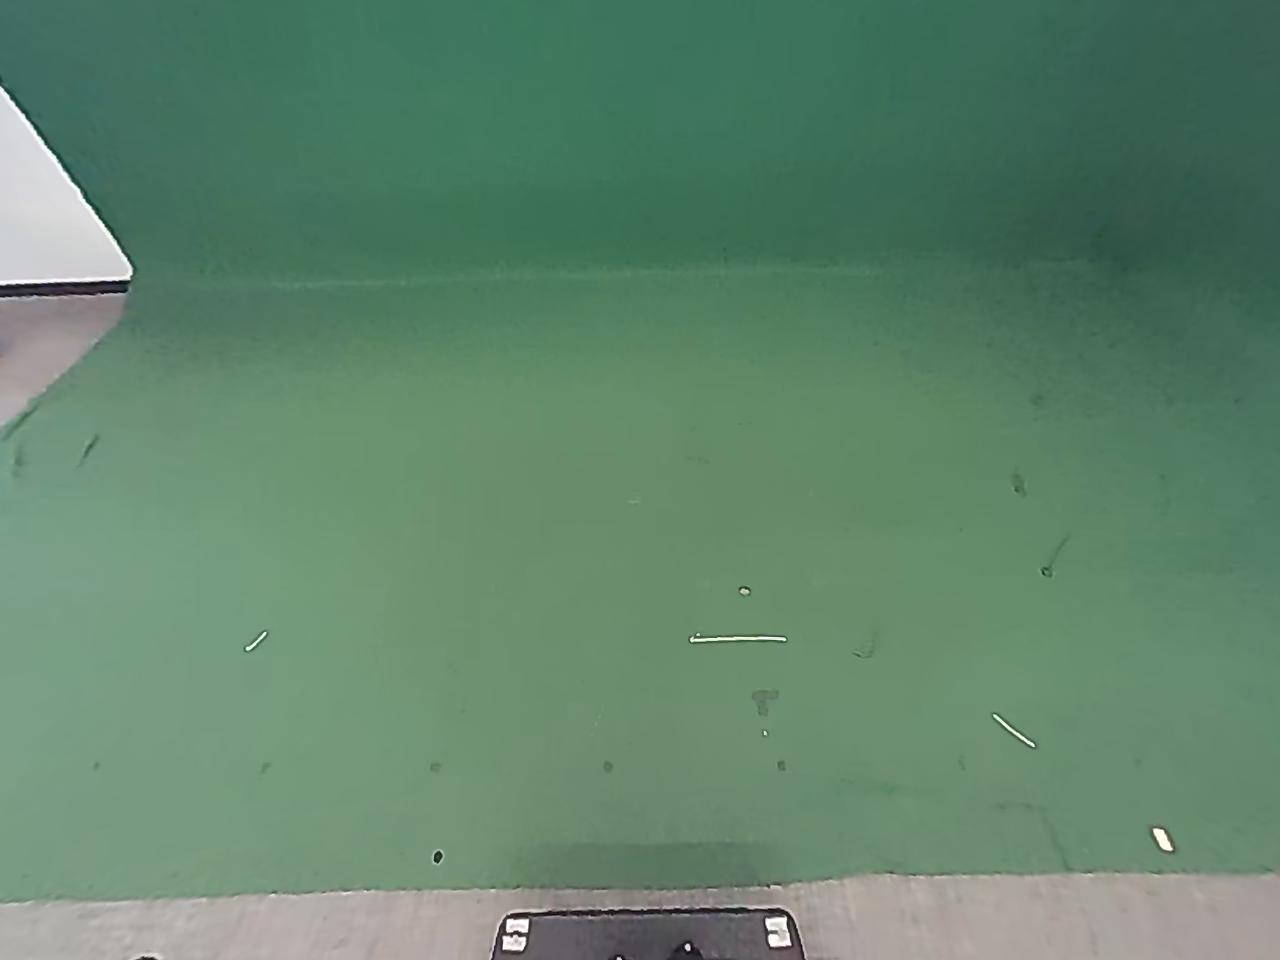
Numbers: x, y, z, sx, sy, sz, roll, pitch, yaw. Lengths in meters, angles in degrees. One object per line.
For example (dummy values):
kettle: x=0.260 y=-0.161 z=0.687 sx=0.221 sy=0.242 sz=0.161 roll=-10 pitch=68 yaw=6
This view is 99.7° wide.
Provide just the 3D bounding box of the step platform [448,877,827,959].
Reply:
step platform: x=-0.002 y=0.938 z=1.014 sx=0.684 sy=0.204 sz=0.286 roll=-2 pitch=49 yaw=0
